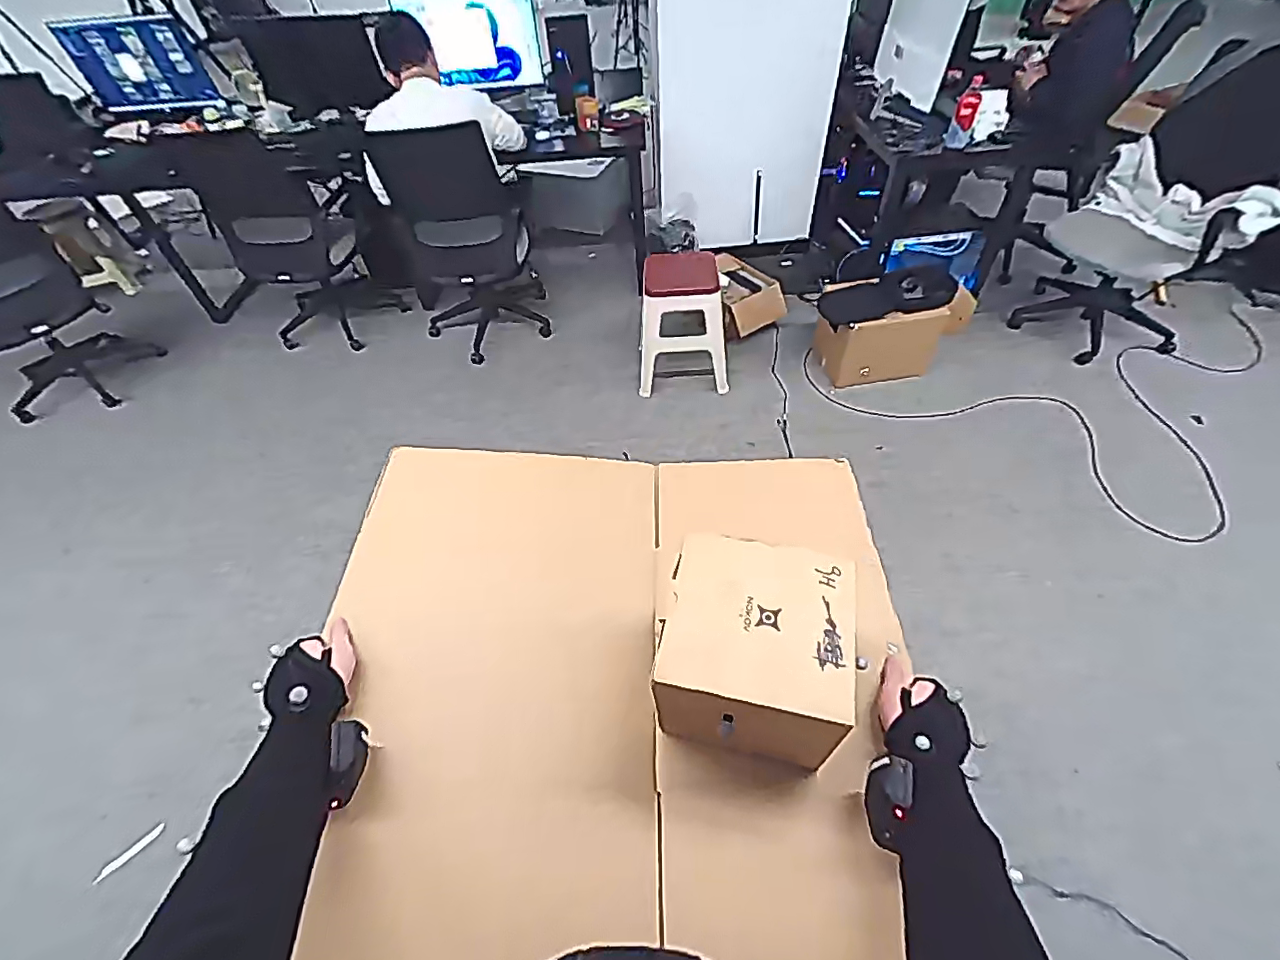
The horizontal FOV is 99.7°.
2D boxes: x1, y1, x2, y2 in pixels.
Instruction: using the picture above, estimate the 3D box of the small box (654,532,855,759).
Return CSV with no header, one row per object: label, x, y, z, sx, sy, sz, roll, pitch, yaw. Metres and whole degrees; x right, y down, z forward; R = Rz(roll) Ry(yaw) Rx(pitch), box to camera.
small box,0.123,0.180,0.580,0.179,0.176,0.168,8,52,13
